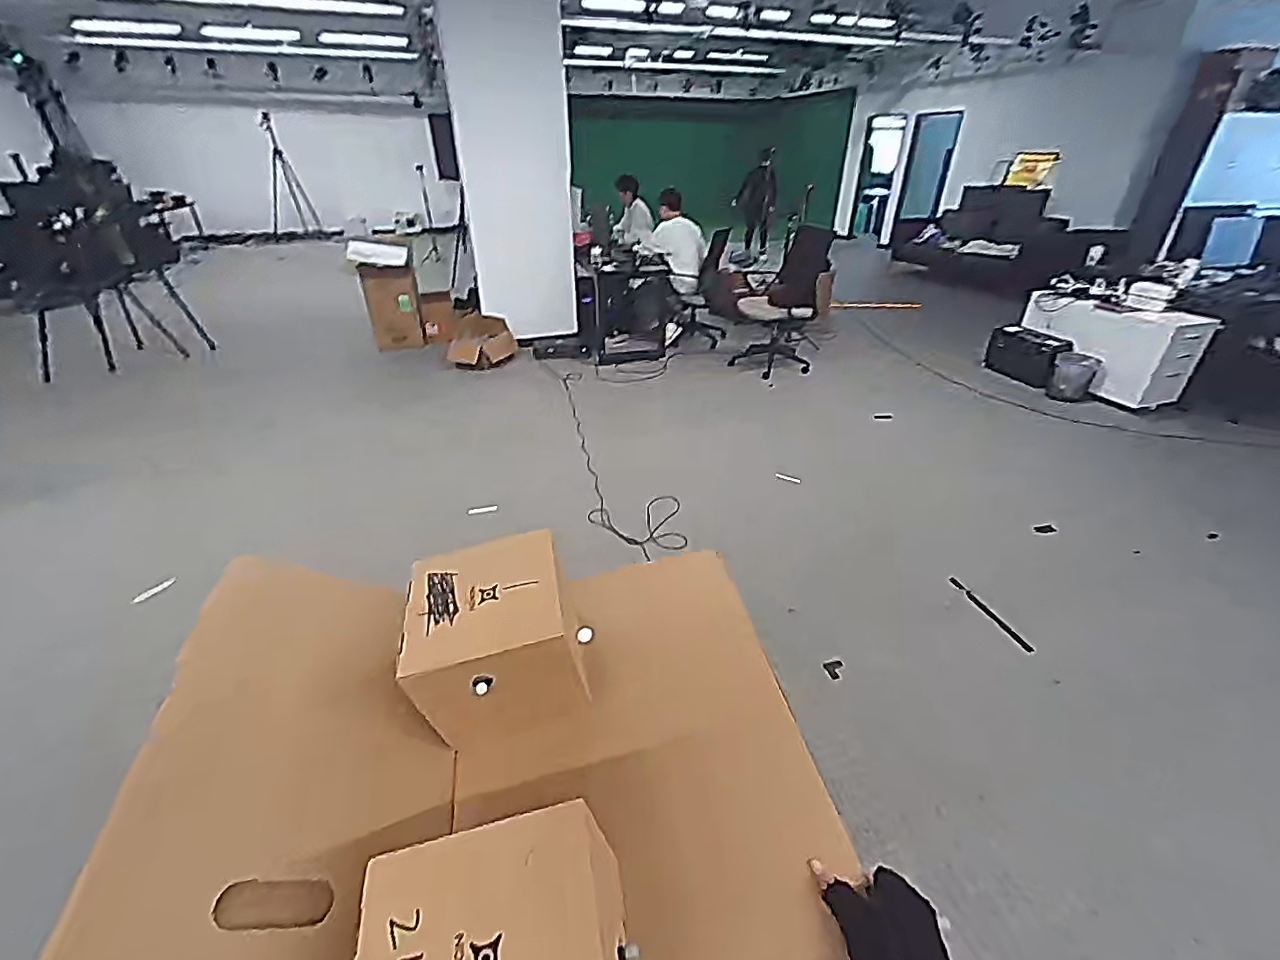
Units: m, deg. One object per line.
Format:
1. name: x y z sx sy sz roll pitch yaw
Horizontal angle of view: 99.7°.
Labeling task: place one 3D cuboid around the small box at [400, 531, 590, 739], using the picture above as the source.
1. small box: -0.171 0.195 0.677 0.179 0.176 0.168 -13 40 -5

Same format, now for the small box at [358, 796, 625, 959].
1. small box: -0.105 0.390 0.436 0.179 0.176 0.168 -13 40 -3
